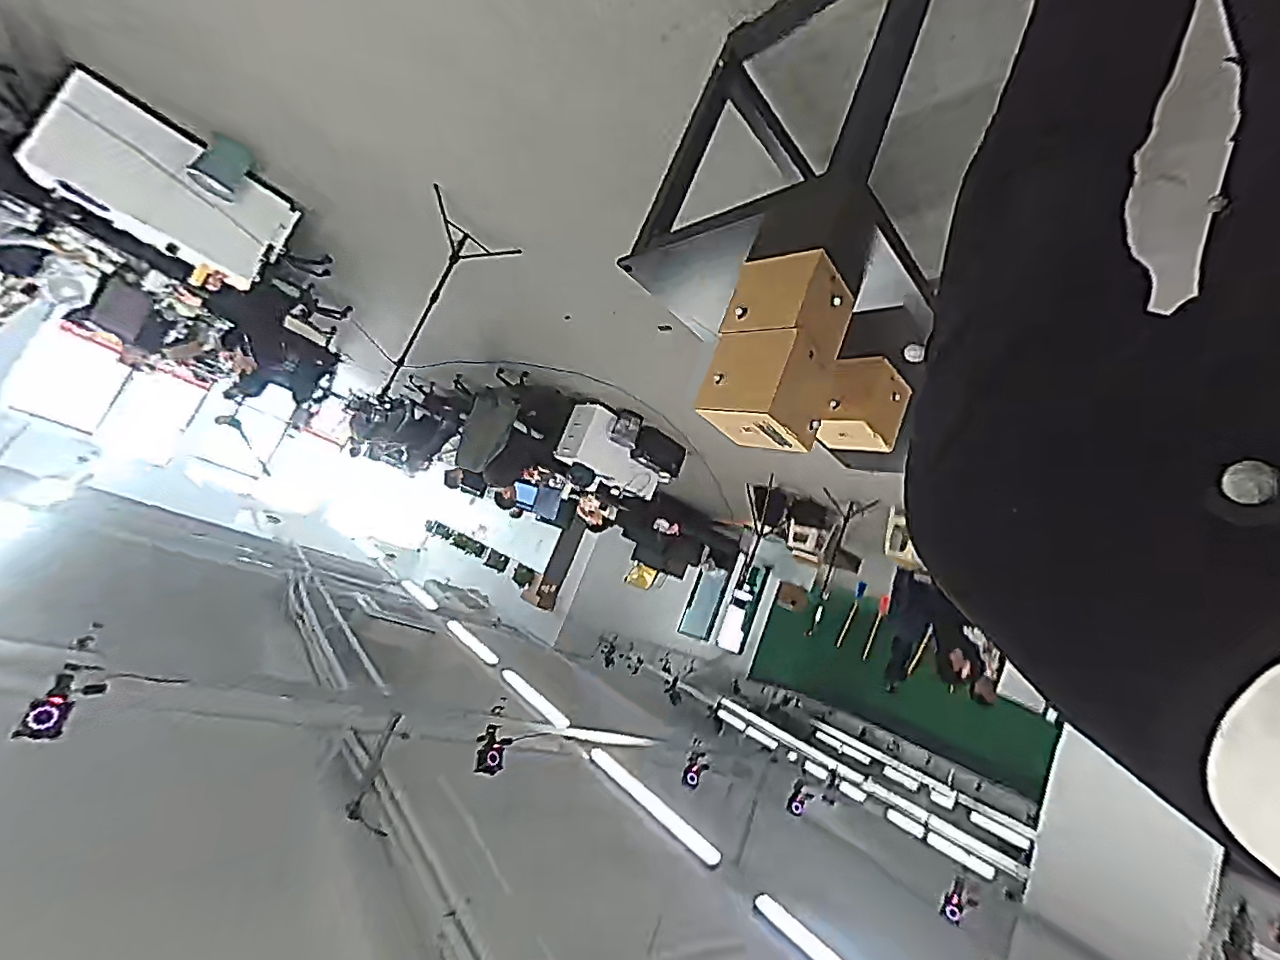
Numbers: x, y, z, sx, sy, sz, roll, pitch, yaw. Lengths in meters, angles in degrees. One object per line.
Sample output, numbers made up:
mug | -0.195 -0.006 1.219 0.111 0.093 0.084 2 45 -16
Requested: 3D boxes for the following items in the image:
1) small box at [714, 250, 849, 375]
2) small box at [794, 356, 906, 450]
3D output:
small box | 0.281 -0.323 1.065 0.179 0.176 0.168 12 168 46
small box | 0.515 -0.188 1.320 0.168 0.176 0.179 29 168 -37
